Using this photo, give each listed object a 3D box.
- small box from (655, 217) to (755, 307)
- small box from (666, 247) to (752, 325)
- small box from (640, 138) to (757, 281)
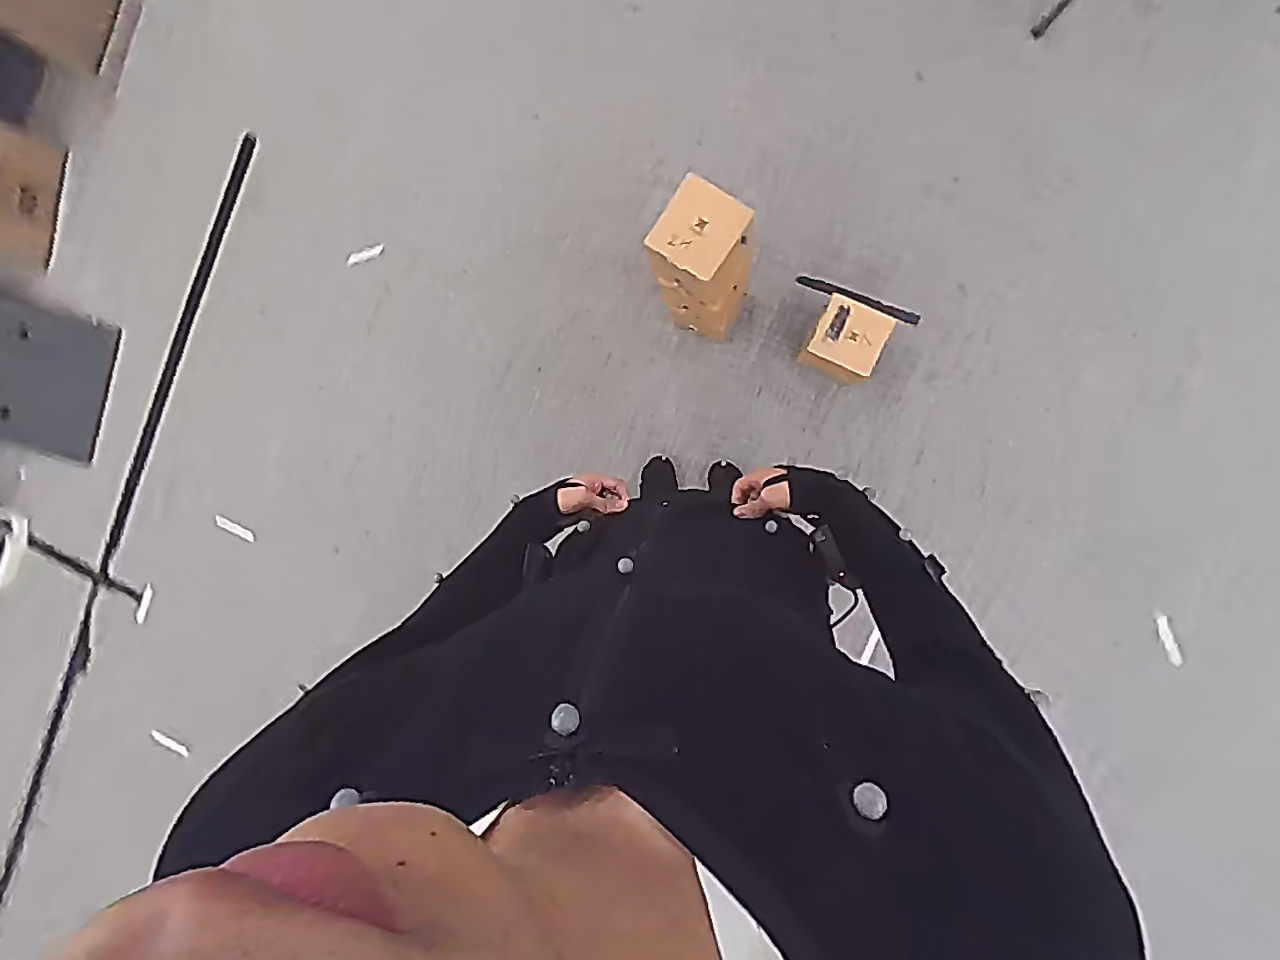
[{"bbox_3d":[0.153,-0.544,1.291,0.168,0.176,0.179,30,96,6],"label":"small box"},{"bbox_3d":[0.182,-0.543,1.450,0.168,0.176,0.179,27,95,6],"label":"small box"},{"bbox_3d":[0.121,-0.552,1.129,0.168,0.176,0.179,35,97,5],"label":"small box"}]
